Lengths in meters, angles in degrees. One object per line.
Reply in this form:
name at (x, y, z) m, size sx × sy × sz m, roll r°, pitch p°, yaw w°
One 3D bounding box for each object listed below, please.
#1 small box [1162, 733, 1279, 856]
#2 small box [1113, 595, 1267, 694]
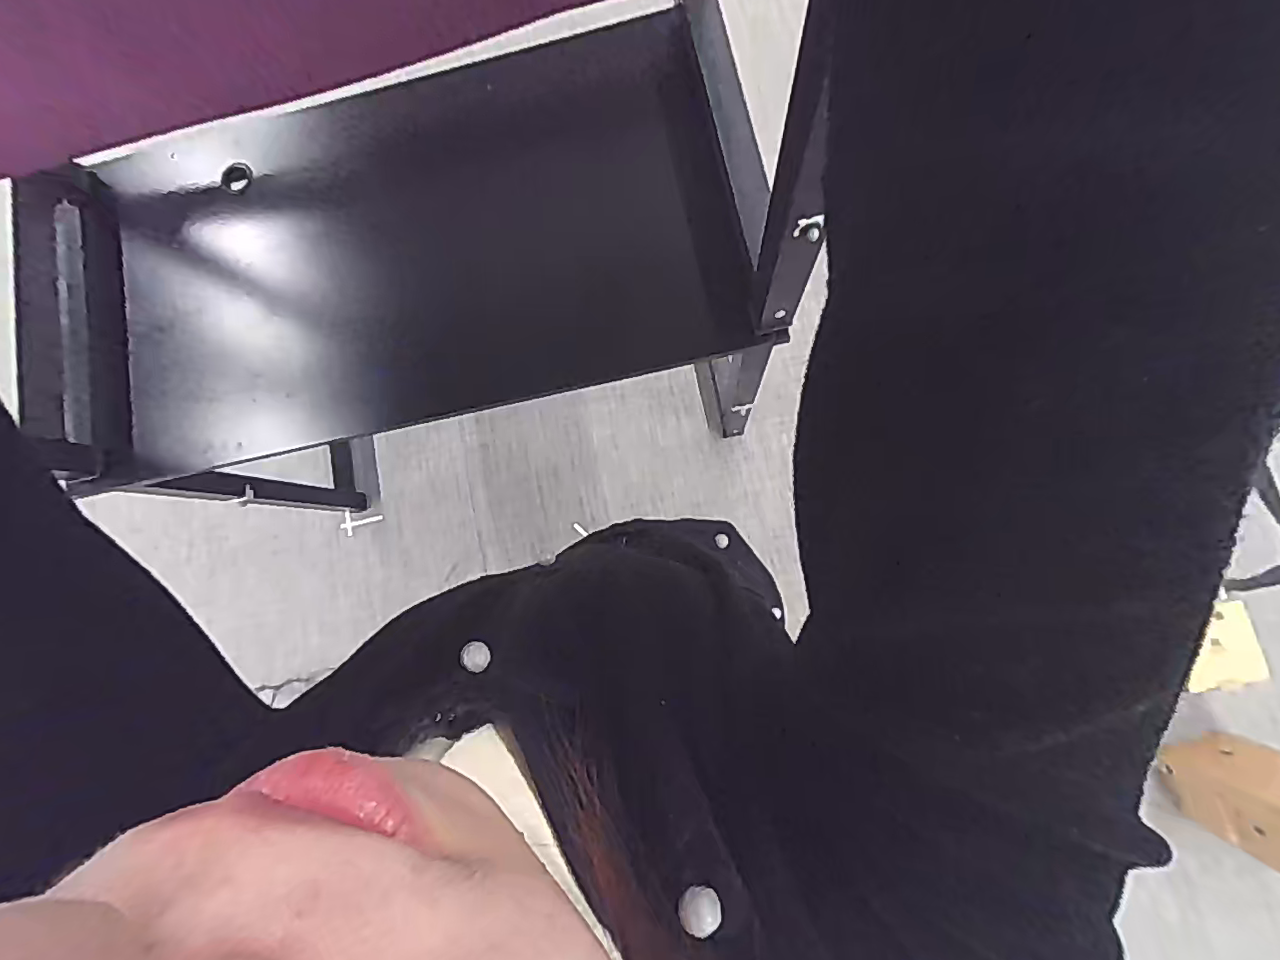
small box at (1.350, 0.701, 1.222) m, size 0.179 × 0.176 × 0.168 m, roll -19°, pitch 82°, yaw 3°
small box at (1.273, 0.377, 1.266) m, size 0.168 × 0.176 × 0.179 m, roll -12°, pitch 83°, yaw 4°
